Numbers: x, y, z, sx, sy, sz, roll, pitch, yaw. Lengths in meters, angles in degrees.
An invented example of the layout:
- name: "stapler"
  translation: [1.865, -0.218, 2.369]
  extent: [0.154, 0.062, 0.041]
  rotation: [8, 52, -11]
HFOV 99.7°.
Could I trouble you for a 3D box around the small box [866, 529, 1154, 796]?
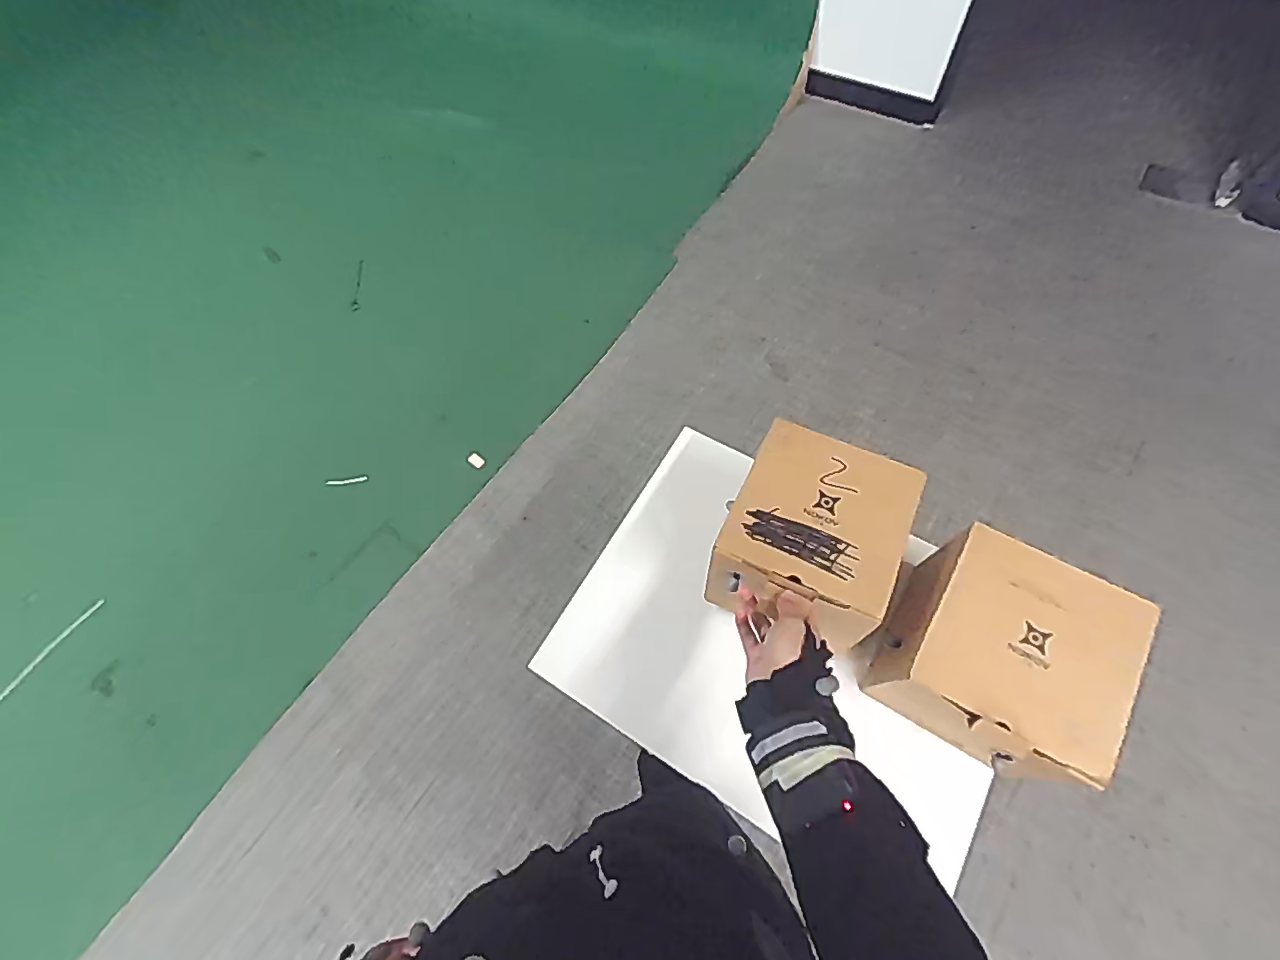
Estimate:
- name: "small box"
  translation: [0.355, 0.184, 0.553]
  extent: [0.168, 0.176, 0.179]
  rotation: [27, 70, 16]
